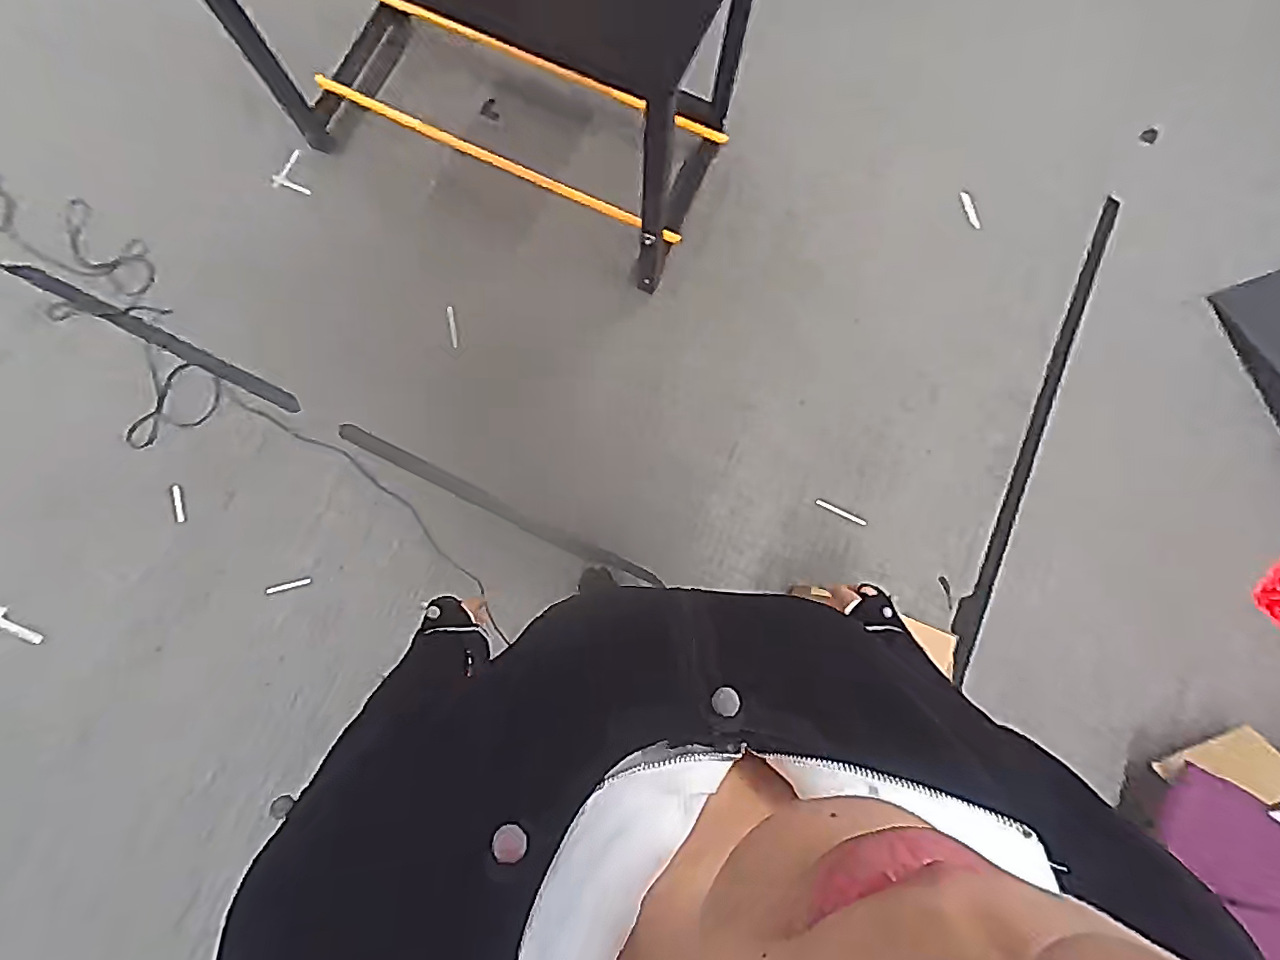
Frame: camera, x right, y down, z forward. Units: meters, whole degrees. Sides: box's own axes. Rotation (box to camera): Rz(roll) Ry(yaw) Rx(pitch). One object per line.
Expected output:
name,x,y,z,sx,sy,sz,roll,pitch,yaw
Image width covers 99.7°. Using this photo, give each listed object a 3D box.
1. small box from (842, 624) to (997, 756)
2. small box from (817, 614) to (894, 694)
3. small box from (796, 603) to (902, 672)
small box,0.514,0.379,1.014,0.179,0.176,0.168,22,79,2
small box,0.509,0.398,1.179,0.179,0.176,0.168,17,80,2
small box,0.513,0.409,1.344,0.179,0.176,0.168,18,80,3
